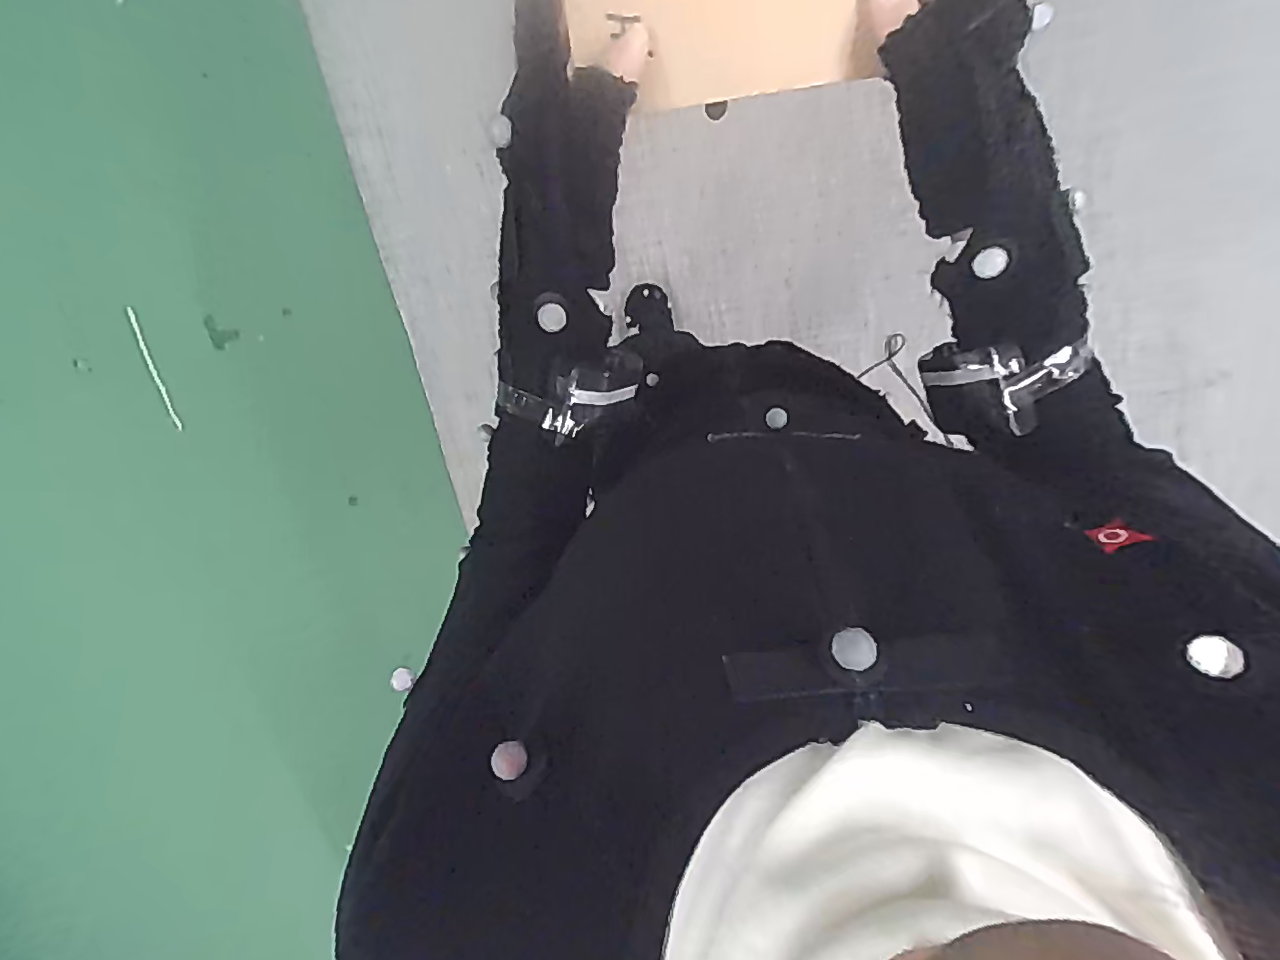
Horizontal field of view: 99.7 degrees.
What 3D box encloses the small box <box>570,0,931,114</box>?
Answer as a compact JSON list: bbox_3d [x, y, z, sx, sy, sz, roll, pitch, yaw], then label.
[{"bbox_3d":[0.045,-0.312,0.296,0.179,0.176,0.168,-7,125,2],"label":"small box"}]
